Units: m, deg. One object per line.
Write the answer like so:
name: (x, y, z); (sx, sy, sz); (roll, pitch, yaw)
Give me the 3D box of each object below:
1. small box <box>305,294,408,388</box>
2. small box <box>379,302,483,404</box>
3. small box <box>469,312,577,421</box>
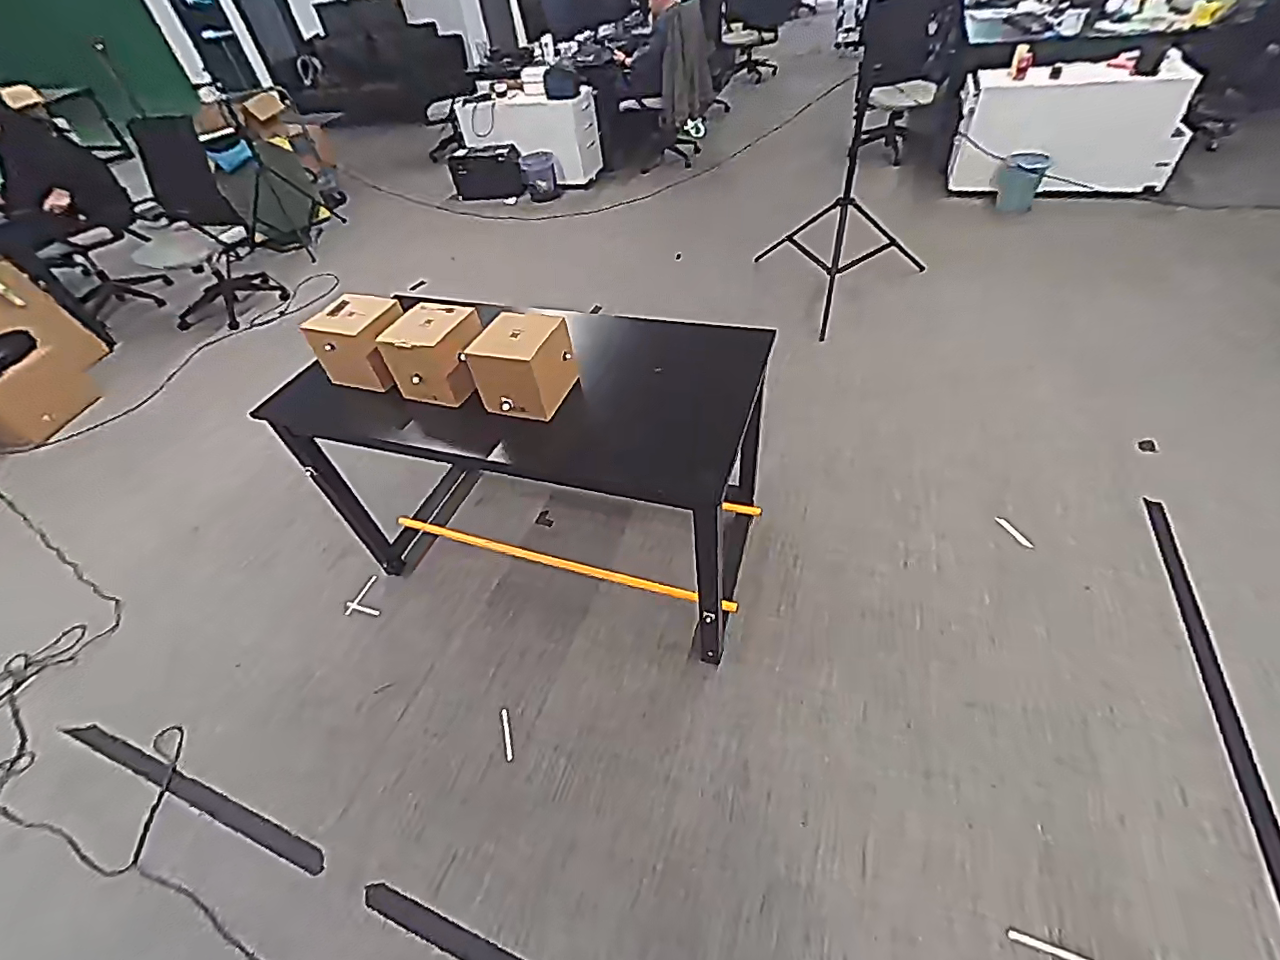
small box: (-0.694, -0.354, 1.383); (0.179, 0.176, 0.168); (12, 50, 17)
small box: (-0.480, -0.305, 1.309); (0.168, 0.176, 0.179); (12, 50, 17)
small box: (-0.256, -0.261, 1.240); (0.168, 0.176, 0.179); (10, 49, 18)
